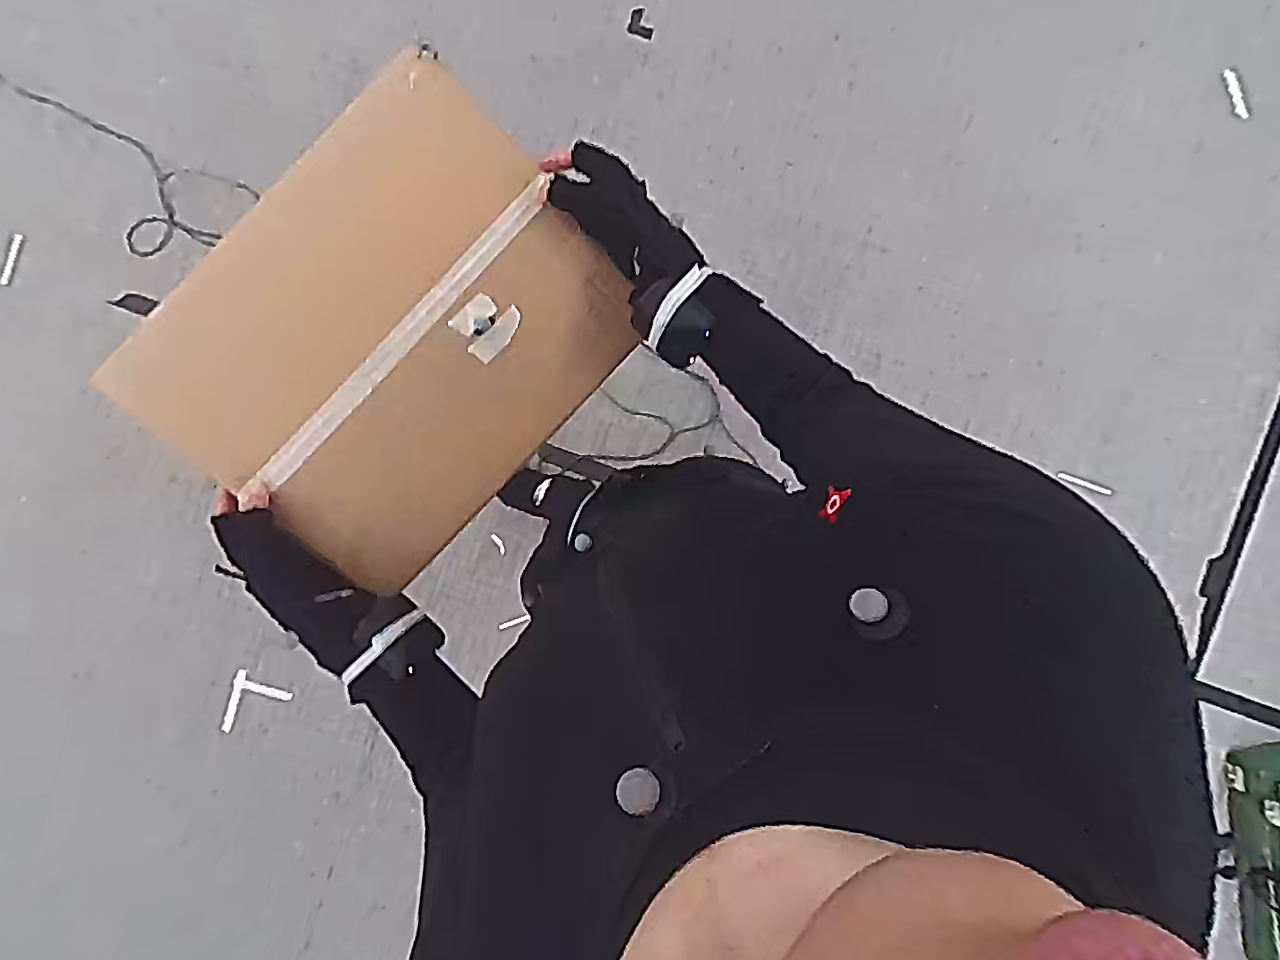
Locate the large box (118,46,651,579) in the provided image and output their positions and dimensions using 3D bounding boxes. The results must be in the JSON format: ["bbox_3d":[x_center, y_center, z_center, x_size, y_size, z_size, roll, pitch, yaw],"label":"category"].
[{"bbox_3d":[-0.250,-0.163,0.657,0.320,0.320,0.408,44,90,-13],"label":"large box"}]
